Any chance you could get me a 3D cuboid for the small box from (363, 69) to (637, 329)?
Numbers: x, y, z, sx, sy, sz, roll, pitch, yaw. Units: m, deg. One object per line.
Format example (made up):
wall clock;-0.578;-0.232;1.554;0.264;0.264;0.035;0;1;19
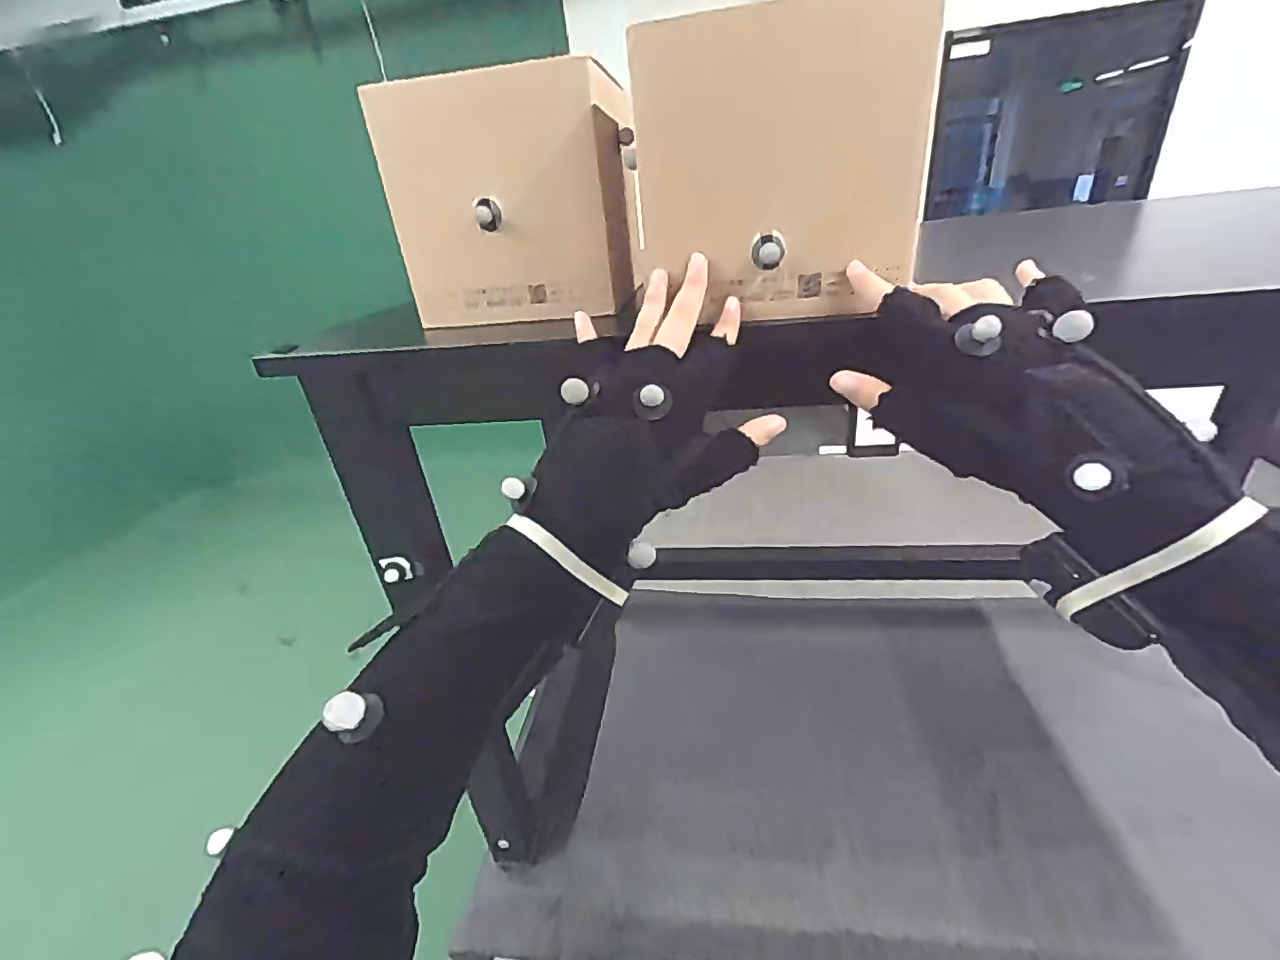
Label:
small box;-0.098;-0.232;0.477;0.168;0.176;0.179;-1;27;9
